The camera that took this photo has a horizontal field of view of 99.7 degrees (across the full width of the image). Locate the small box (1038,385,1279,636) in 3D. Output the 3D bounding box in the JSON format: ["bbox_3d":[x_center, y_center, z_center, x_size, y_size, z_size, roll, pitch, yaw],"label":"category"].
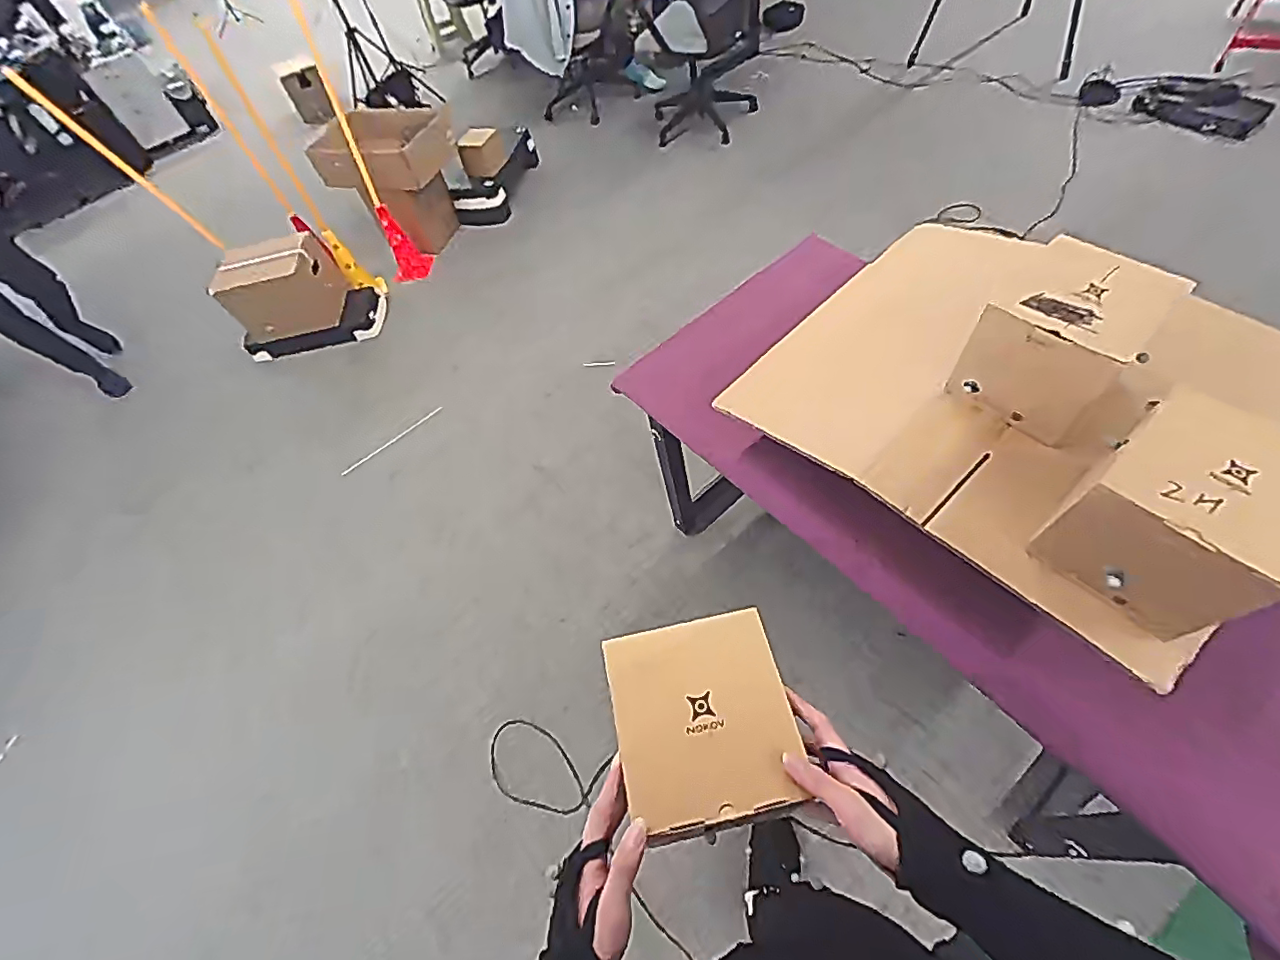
[{"bbox_3d":[0.589,0.038,0.590,0.179,0.176,0.168,-41,61,-14],"label":"small box"}]

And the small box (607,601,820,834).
[{"bbox_3d":[0.063,0.253,0.568,0.168,0.176,0.179,-11,56,-4],"label":"small box"}]

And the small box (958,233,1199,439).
[{"bbox_3d":[0.566,-0.187,0.729,0.179,0.176,0.168,-41,62,-15],"label":"small box"}]
